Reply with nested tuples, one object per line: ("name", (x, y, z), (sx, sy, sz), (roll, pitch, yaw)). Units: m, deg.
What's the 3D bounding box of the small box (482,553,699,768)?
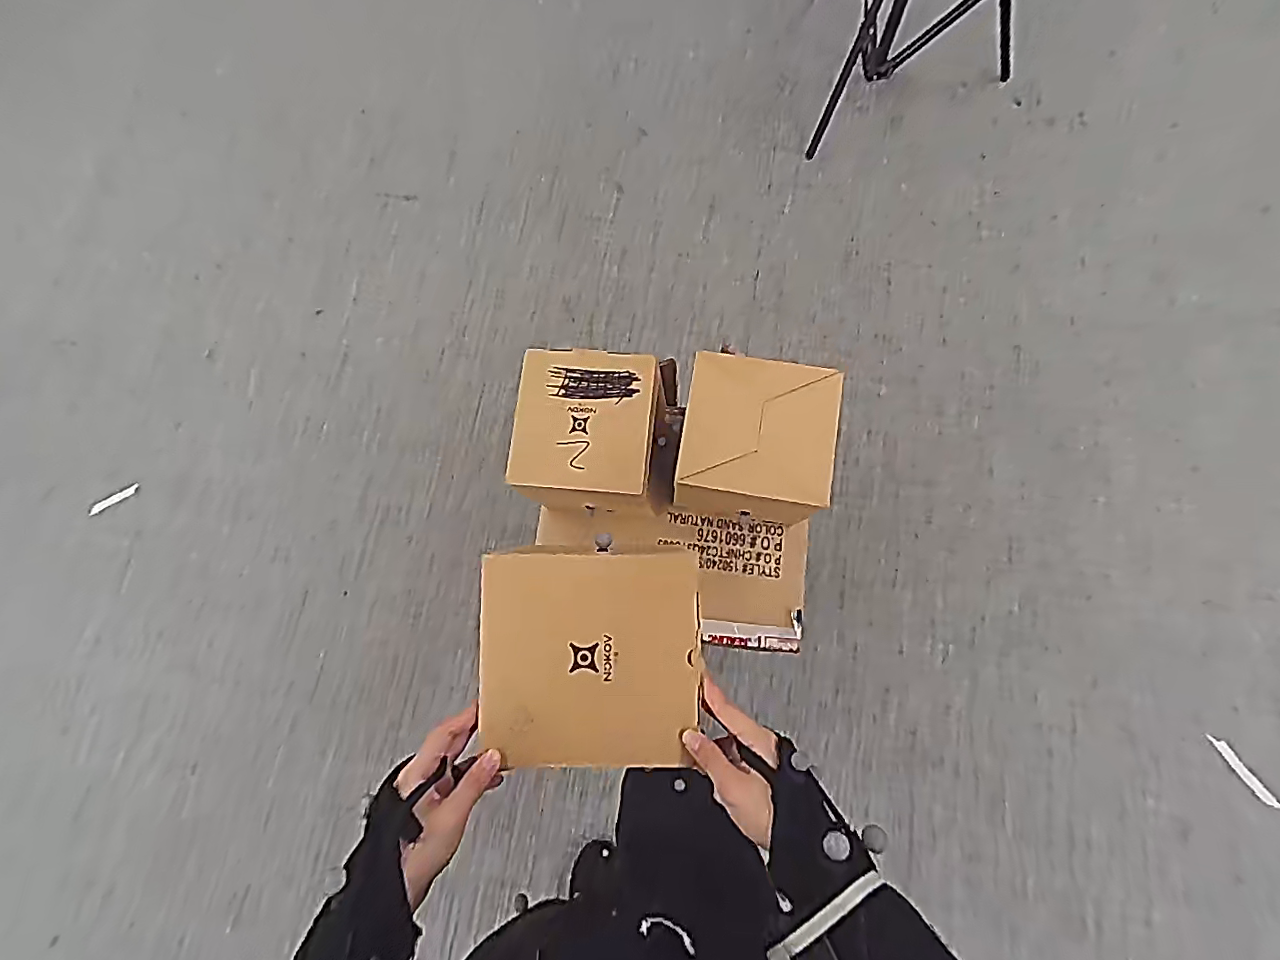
("small box", (-0.039, 0.156, 0.518), (0.179, 0.176, 0.168), (0, 84, -1))
